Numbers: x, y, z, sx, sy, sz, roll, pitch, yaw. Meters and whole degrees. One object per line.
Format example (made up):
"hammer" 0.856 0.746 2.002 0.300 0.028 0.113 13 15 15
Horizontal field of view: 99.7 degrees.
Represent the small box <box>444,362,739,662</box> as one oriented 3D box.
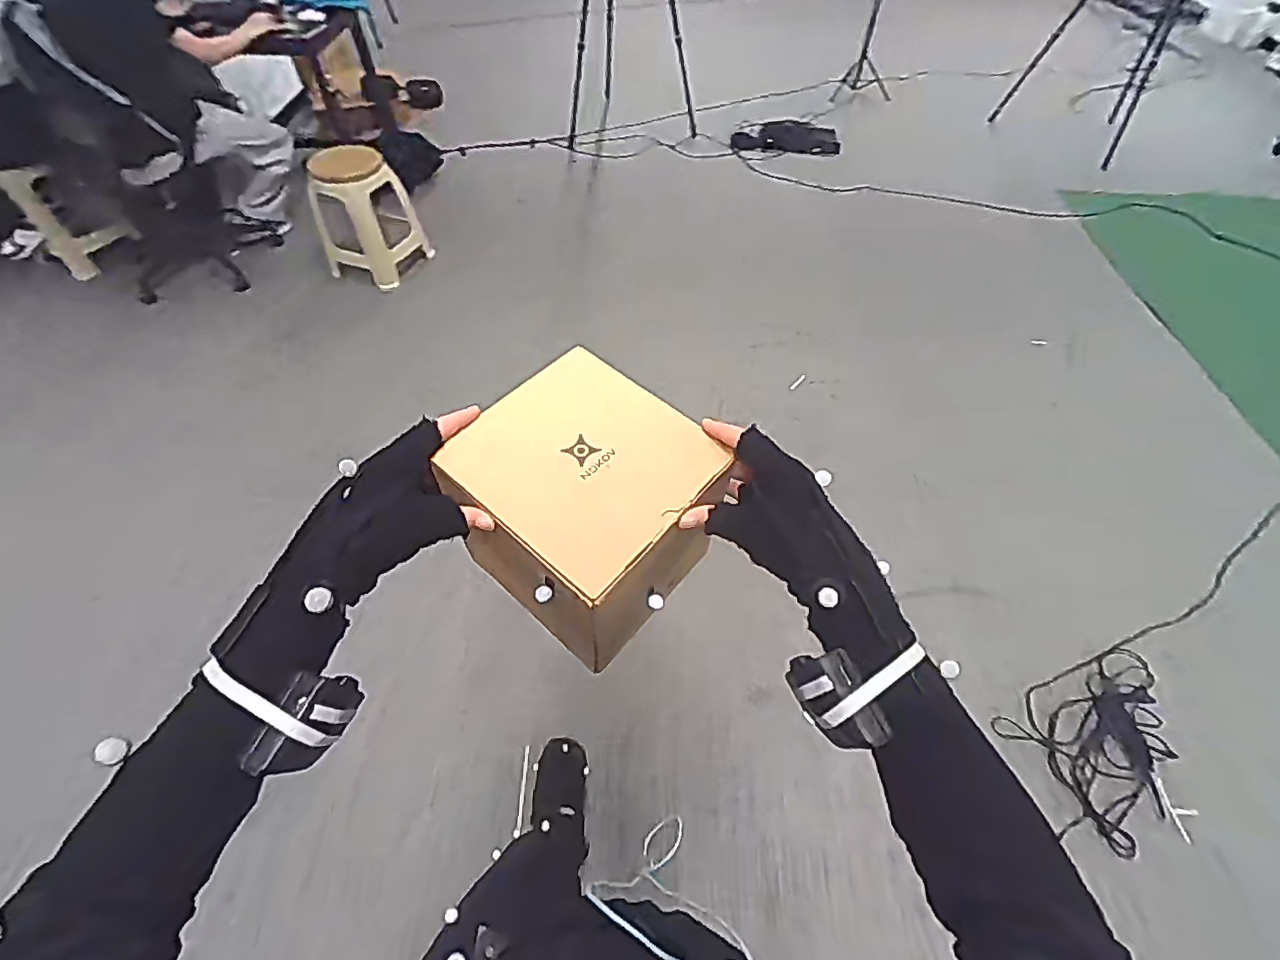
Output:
"small box" -0.042 0.033 0.489 0.179 0.176 0.168 37 61 19
